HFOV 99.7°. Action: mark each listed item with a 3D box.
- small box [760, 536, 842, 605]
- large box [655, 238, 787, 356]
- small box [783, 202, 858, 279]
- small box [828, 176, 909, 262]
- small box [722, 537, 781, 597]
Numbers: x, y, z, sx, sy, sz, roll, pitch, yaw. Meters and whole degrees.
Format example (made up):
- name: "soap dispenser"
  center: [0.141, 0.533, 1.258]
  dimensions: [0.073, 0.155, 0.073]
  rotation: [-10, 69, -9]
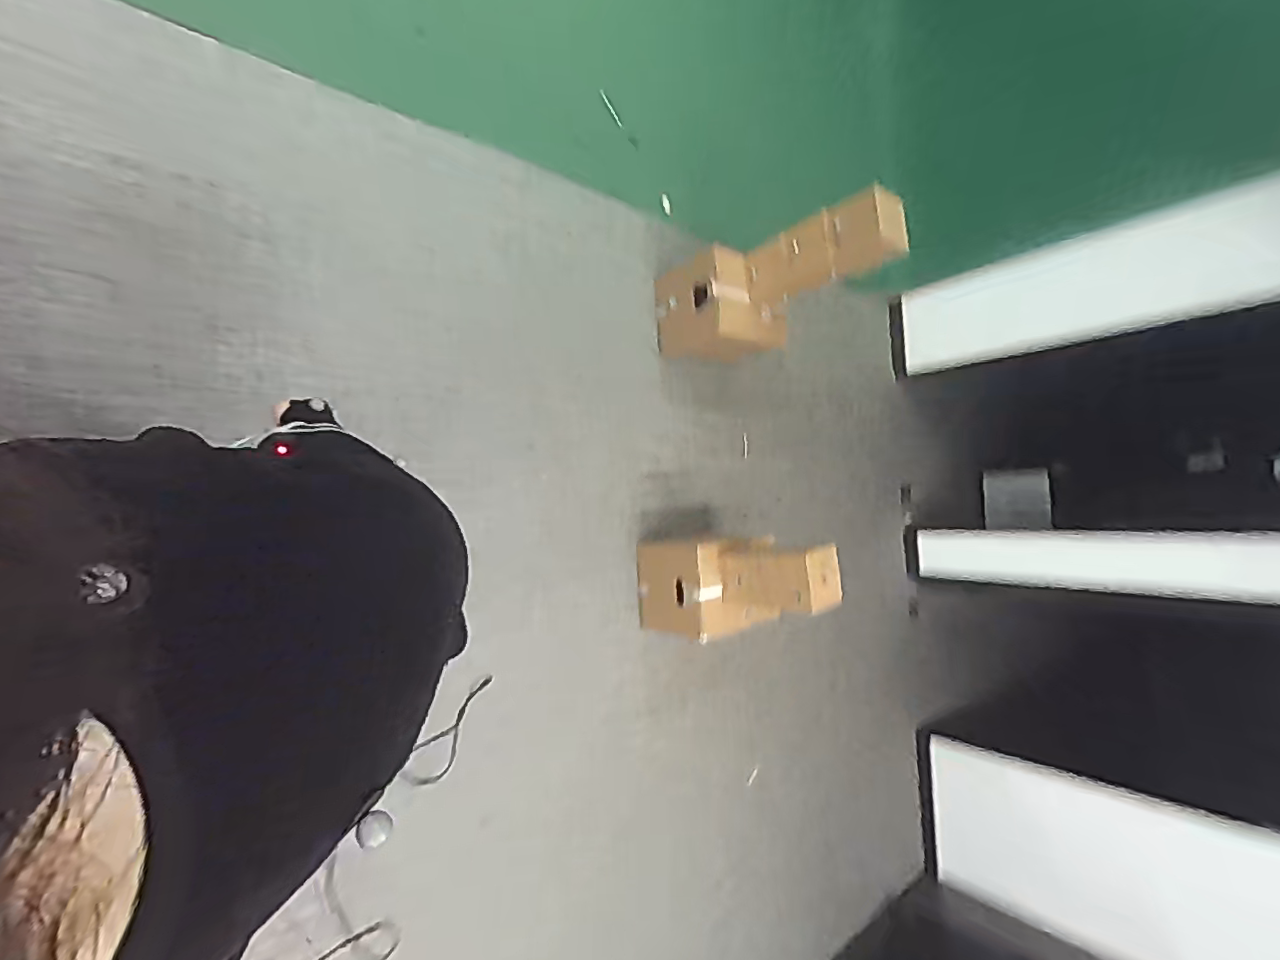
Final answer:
- name: "small box"
  center: [0.488, 0.268, 1.649]
  dimensions: [0.168, 0.176, 0.179]
  rotation: [-8, 90, -40]
- name: "large box"
  center: [0.312, -0.684, 2.094]
  dimensions: [0.408, 0.320, 0.320]
  rotation: [-3, 88, -40]
- name: "small box"
  center: [0.607, -0.795, 1.817]
  dimensions: [0.179, 0.176, 0.168]
  rotation: [-4, 86, -38]
- name: "small box"
  center: [0.715, -0.807, 1.695]
  dimensions: [0.179, 0.176, 0.168]
  rotation: [-1, 84, -38]
- name: "small box"
  center: [0.386, 0.282, 1.780]
  dimensions: [0.179, 0.176, 0.168]
  rotation: [-7, 90, -39]
